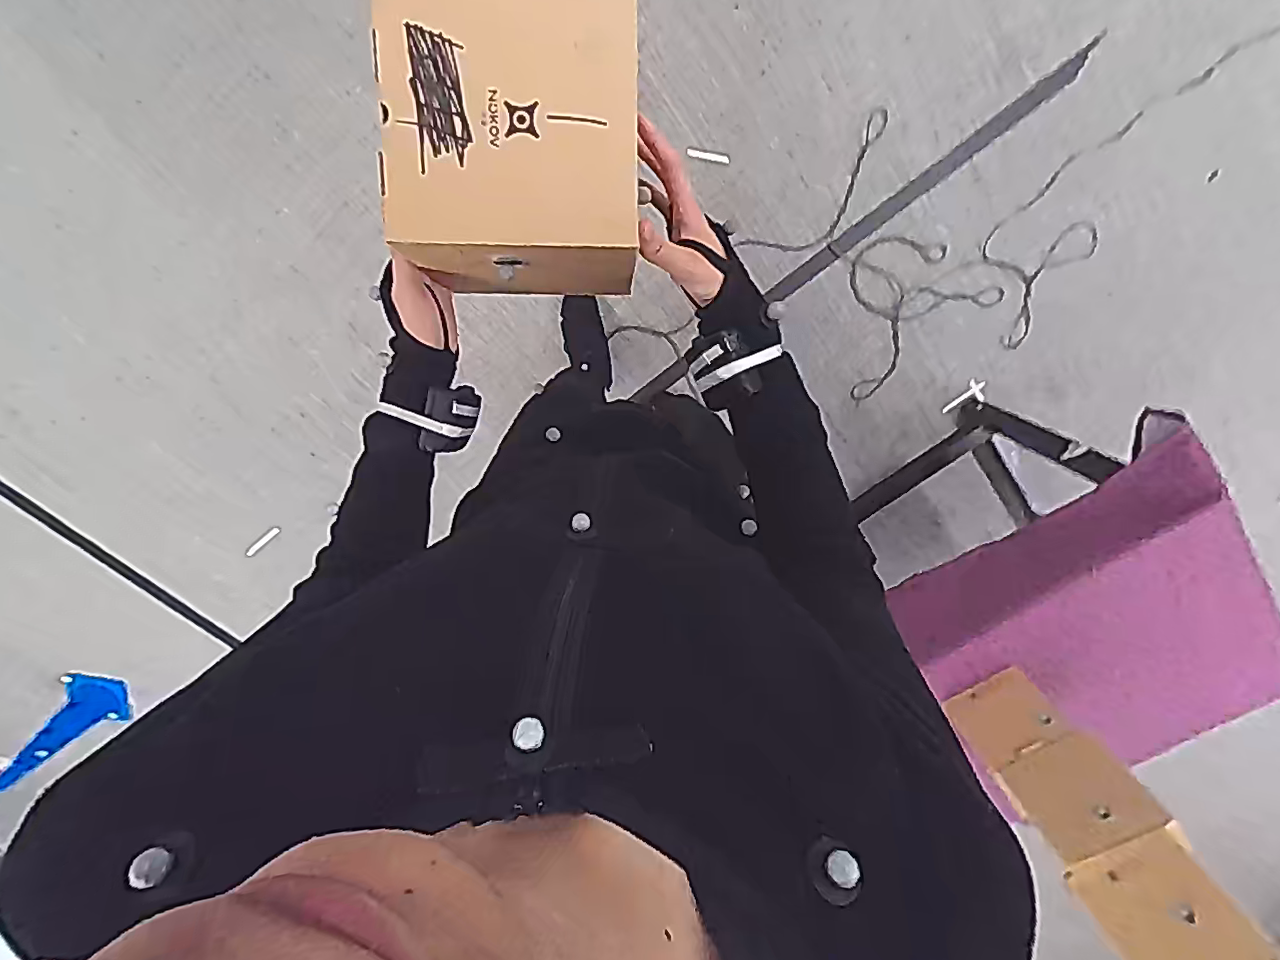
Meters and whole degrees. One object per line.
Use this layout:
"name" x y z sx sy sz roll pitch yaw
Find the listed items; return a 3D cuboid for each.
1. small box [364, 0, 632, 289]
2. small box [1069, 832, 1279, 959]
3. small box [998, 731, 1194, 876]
"small box" -0.096 -0.257 0.442 0.179 0.176 0.168 -1 98 -3
"small box" 0.780 0.650 0.780 0.168 0.176 0.179 -43 111 15
"small box" 0.766 0.568 0.921 0.179 0.176 0.168 -35 111 12
